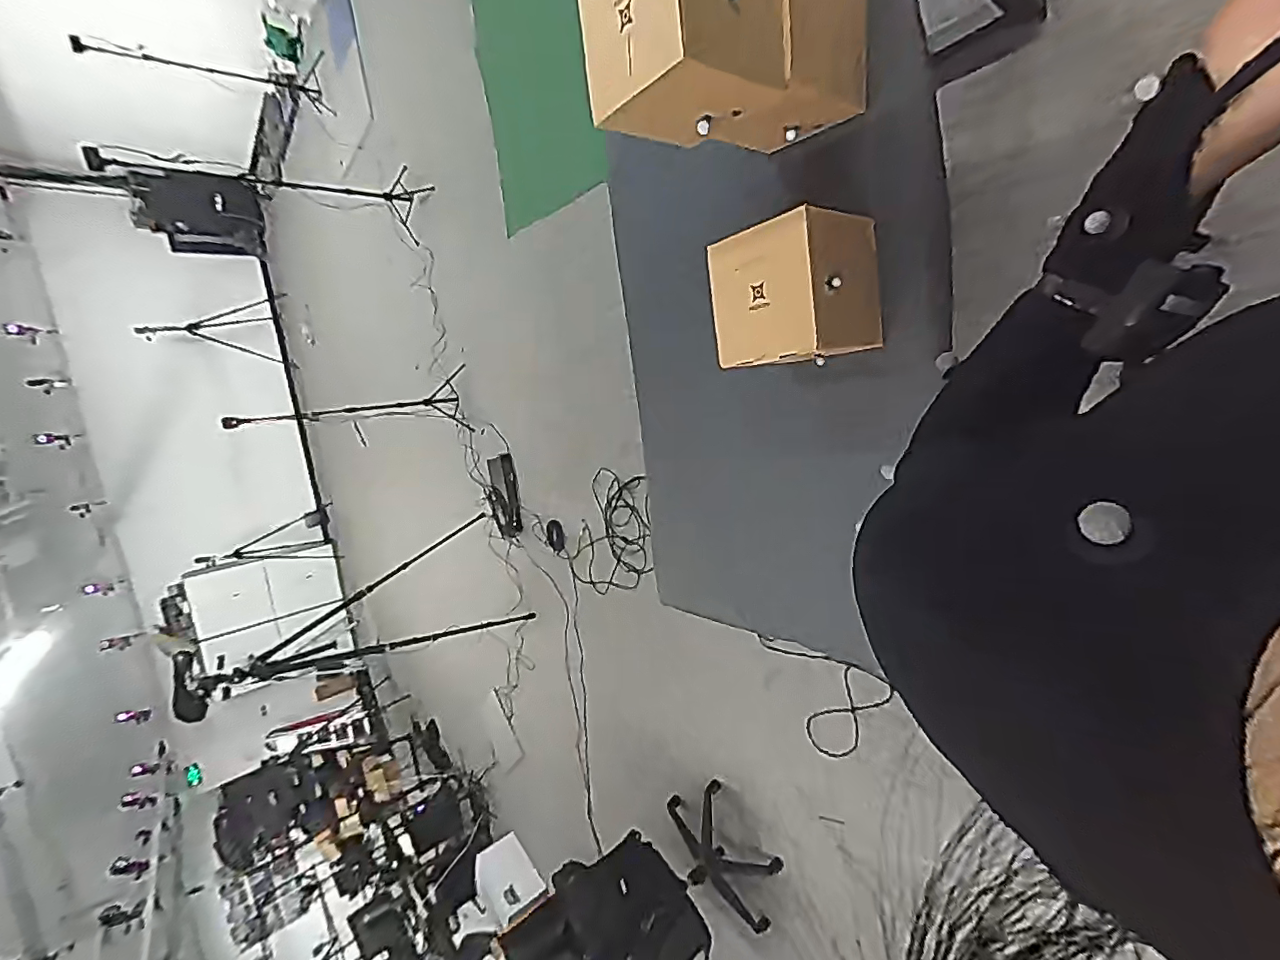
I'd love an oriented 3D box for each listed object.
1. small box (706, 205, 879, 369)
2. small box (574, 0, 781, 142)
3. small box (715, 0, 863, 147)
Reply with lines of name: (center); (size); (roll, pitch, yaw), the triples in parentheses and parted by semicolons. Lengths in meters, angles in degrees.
small box: (0.219, -0.261, 0.763); (0.168, 0.176, 0.179); (0, 101, 50)
small box: (0.044, -0.522, 0.620); (0.168, 0.176, 0.179); (7, 109, 50)
small box: (0.175, -0.570, 0.708); (0.168, 0.176, 0.179); (9, 110, 50)
